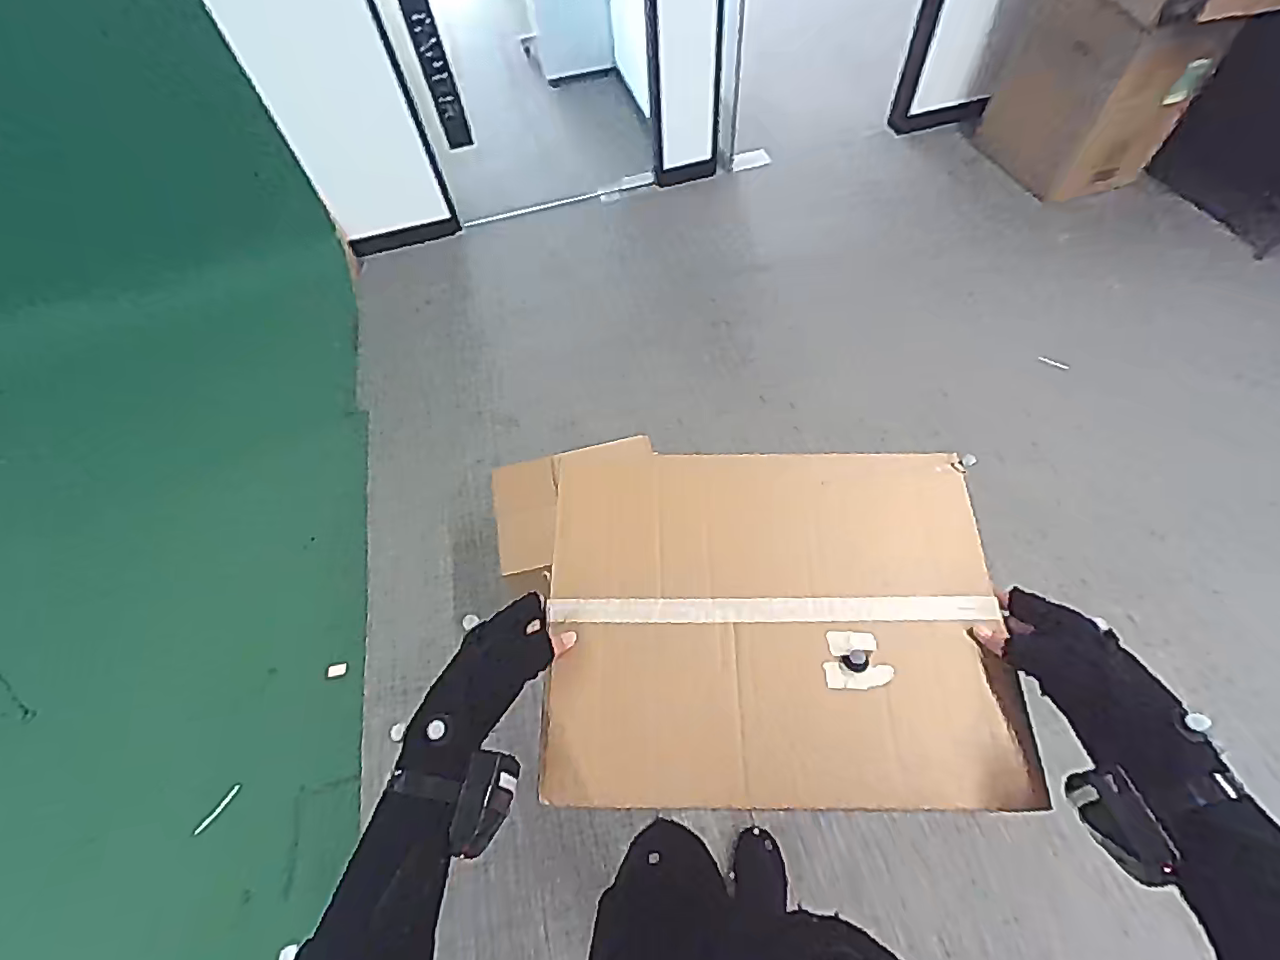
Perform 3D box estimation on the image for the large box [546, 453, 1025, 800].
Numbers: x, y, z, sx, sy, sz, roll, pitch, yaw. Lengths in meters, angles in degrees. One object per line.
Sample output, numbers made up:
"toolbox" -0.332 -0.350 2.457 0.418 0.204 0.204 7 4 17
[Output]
"large box" 0.116 0.176 0.636 0.408 0.320 0.320 0 66 0
